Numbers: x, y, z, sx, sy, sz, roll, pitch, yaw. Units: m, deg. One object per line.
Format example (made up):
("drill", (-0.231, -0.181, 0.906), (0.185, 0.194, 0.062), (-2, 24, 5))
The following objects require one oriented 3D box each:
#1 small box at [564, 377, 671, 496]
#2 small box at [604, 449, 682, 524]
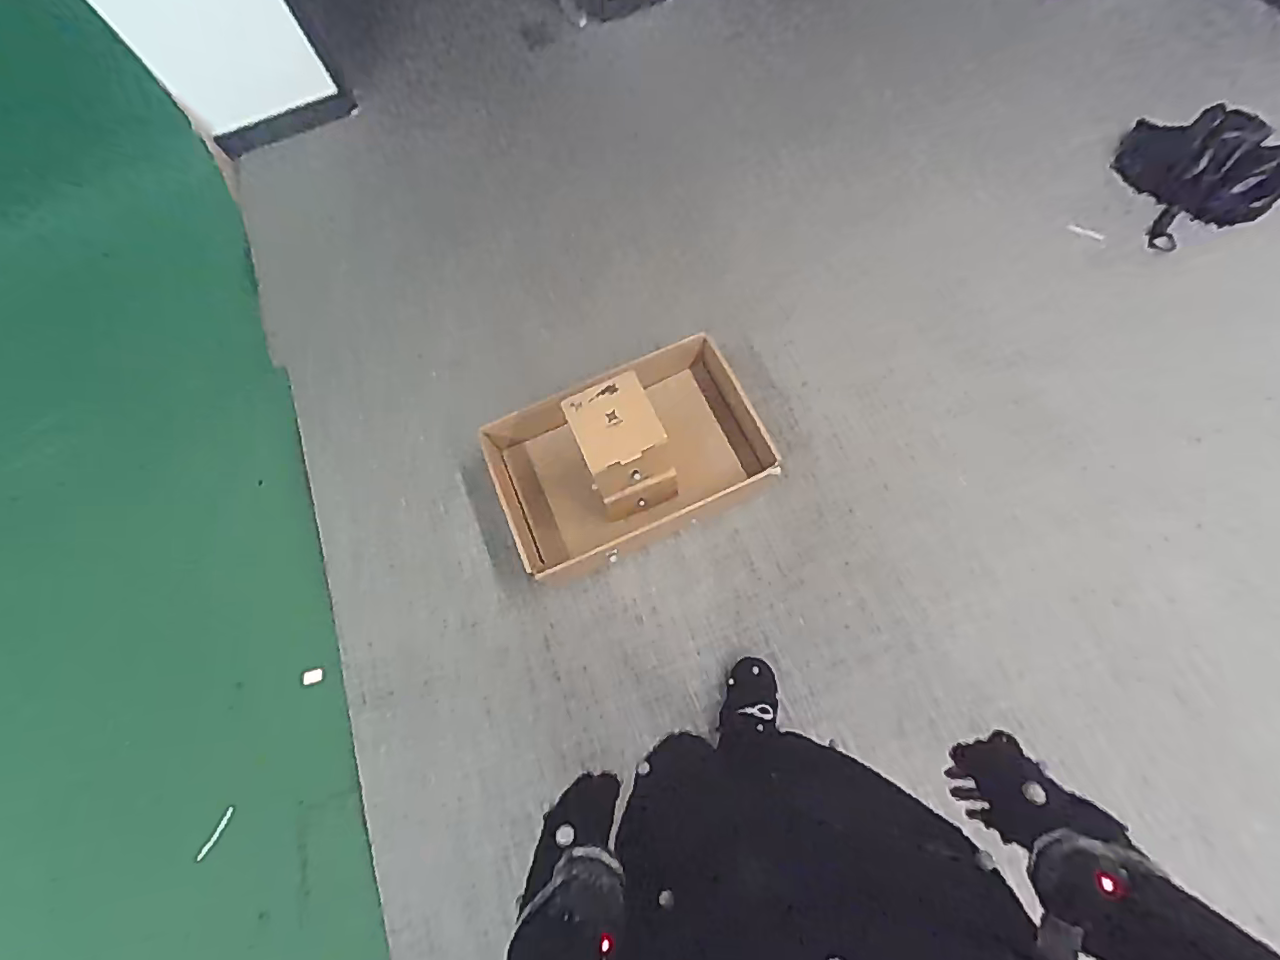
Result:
("small box", (-0.041, -0.080, 1.145), (0.168, 0.176, 0.179), (-24, 71, -3))
("small box", (-0.011, -0.015, 1.293), (0.179, 0.176, 0.168), (-24, 71, -4))
